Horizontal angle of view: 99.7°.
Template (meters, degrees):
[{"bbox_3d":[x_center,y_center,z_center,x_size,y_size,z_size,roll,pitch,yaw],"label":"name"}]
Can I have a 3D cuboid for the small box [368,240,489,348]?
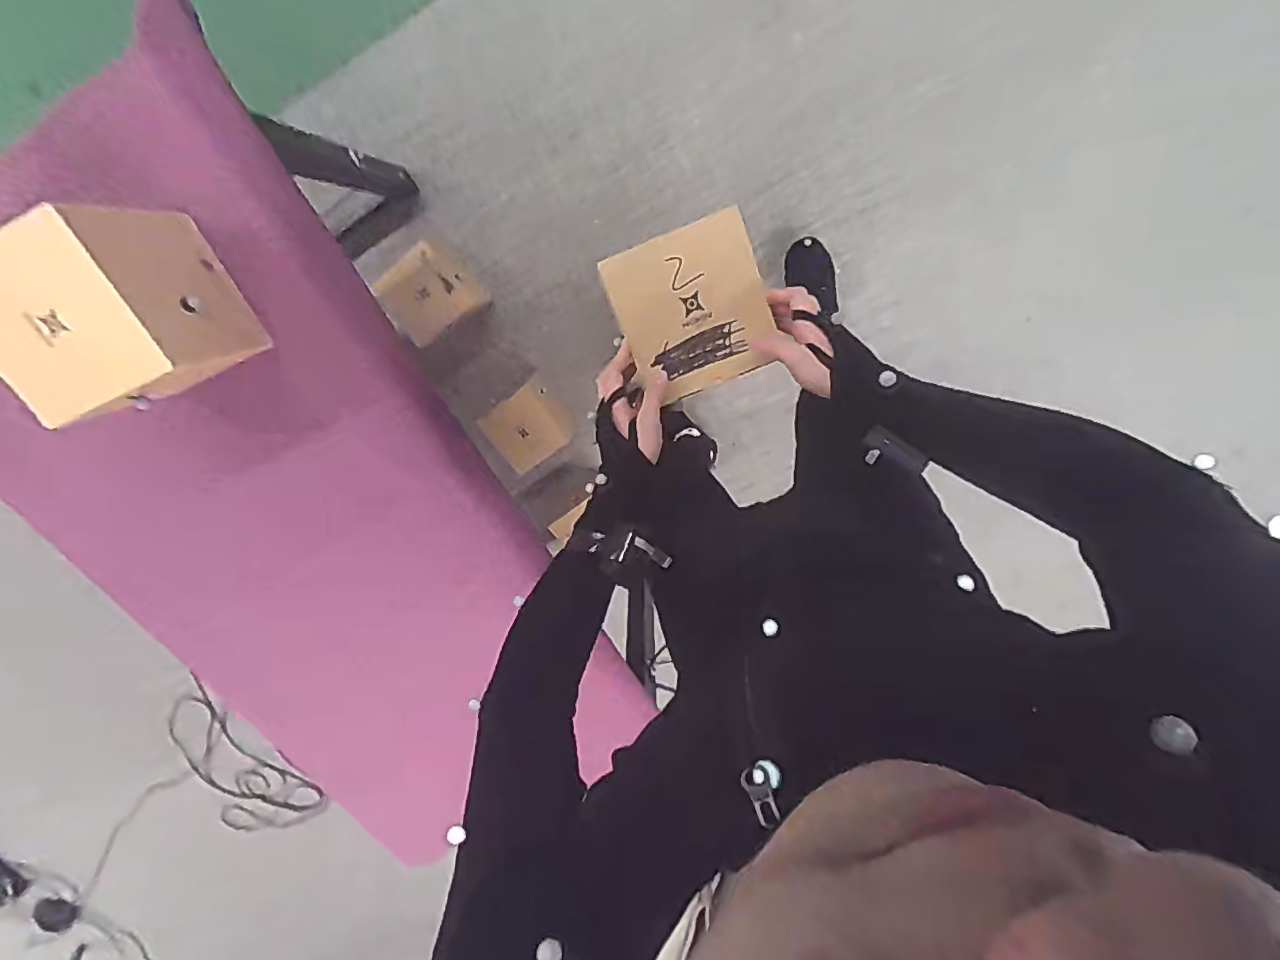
[{"bbox_3d":[-0.485,-0.436,1.271,0.179,0.176,0.168,-33,108,13],"label":"small box"}]

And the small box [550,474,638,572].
[{"bbox_3d":[-0.123,0.112,1.488,0.179,0.176,0.168,-35,107,14],"label":"small box"}]

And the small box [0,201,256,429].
[{"bbox_3d":[-0.572,-0.183,0.592,0.179,0.176,0.168,-21,111,10],"label":"small box"}]

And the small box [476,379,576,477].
[{"bbox_3d":[-0.284,-0.143,1.388,0.168,0.176,0.179,-33,109,14],"label":"small box"}]
